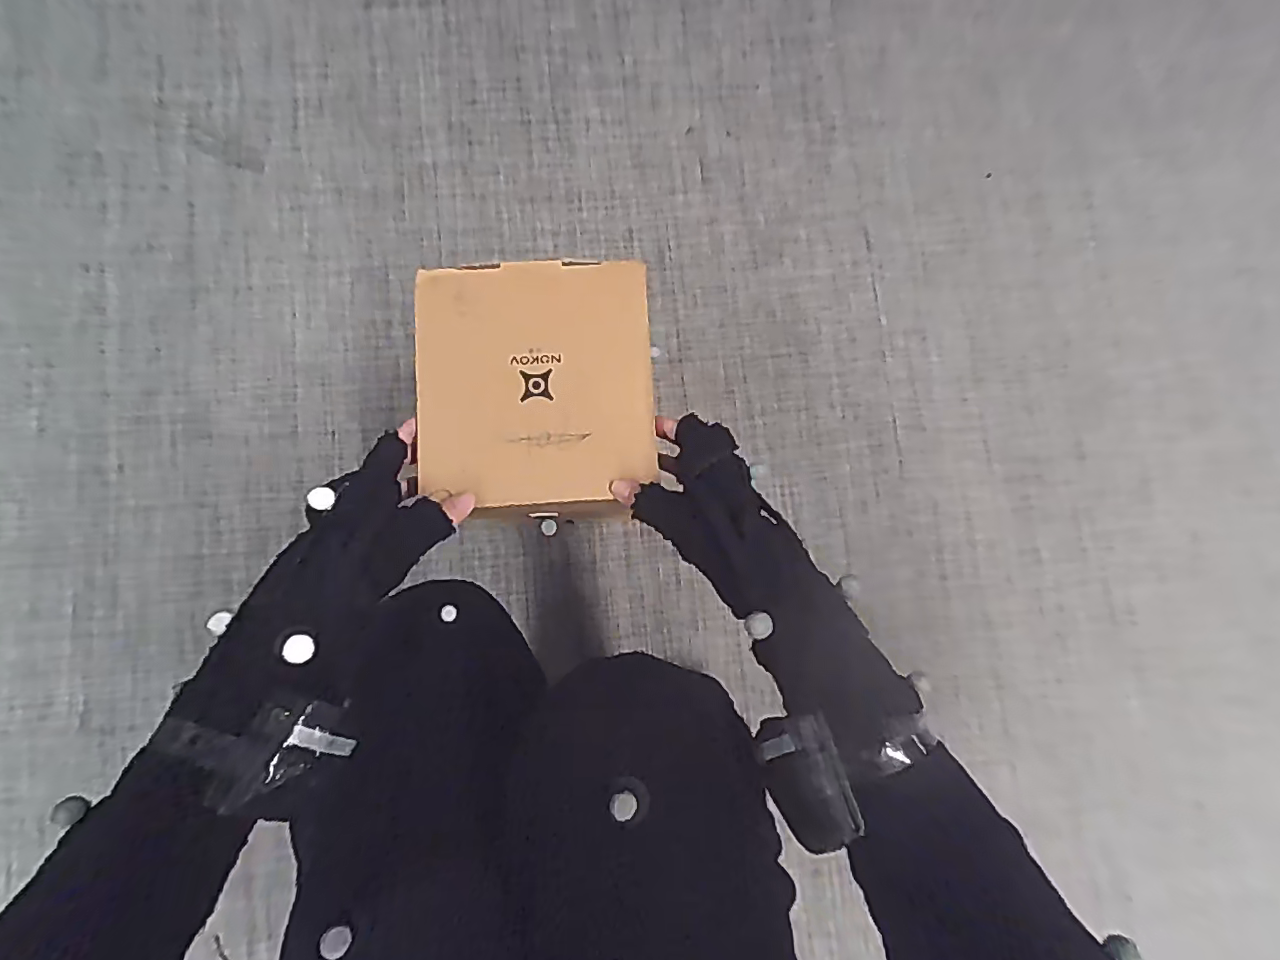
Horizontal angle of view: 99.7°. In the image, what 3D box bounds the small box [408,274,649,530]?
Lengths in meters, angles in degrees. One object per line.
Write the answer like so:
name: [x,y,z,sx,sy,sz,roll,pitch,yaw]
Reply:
small box: [-0.082,-0.051,0.459,0.168,0.176,0.179,-3,83,-2]
